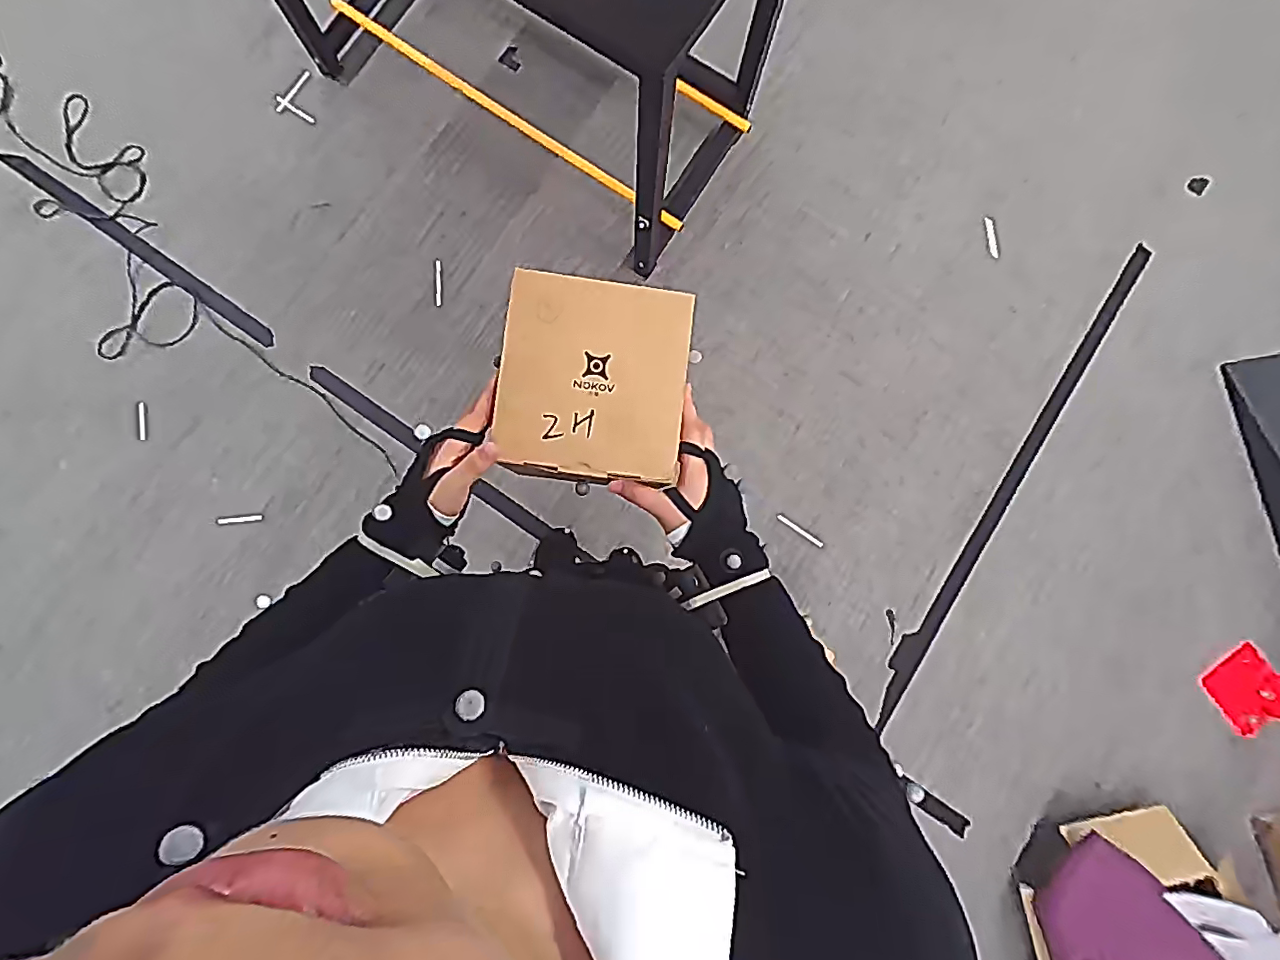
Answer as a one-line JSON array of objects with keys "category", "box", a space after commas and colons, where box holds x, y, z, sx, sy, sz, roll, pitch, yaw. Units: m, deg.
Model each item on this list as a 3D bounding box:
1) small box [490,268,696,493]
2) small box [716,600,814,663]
[{"category": "small box", "box": [-0.046, -0.086, 0.555, 0.168, 0.176, 0.179, 7, 85, -3]}, {"category": "small box", "box": [0.318, 0.426, 1.410, 0.179, 0.176, 0.168, 27, 83, 3]}]
